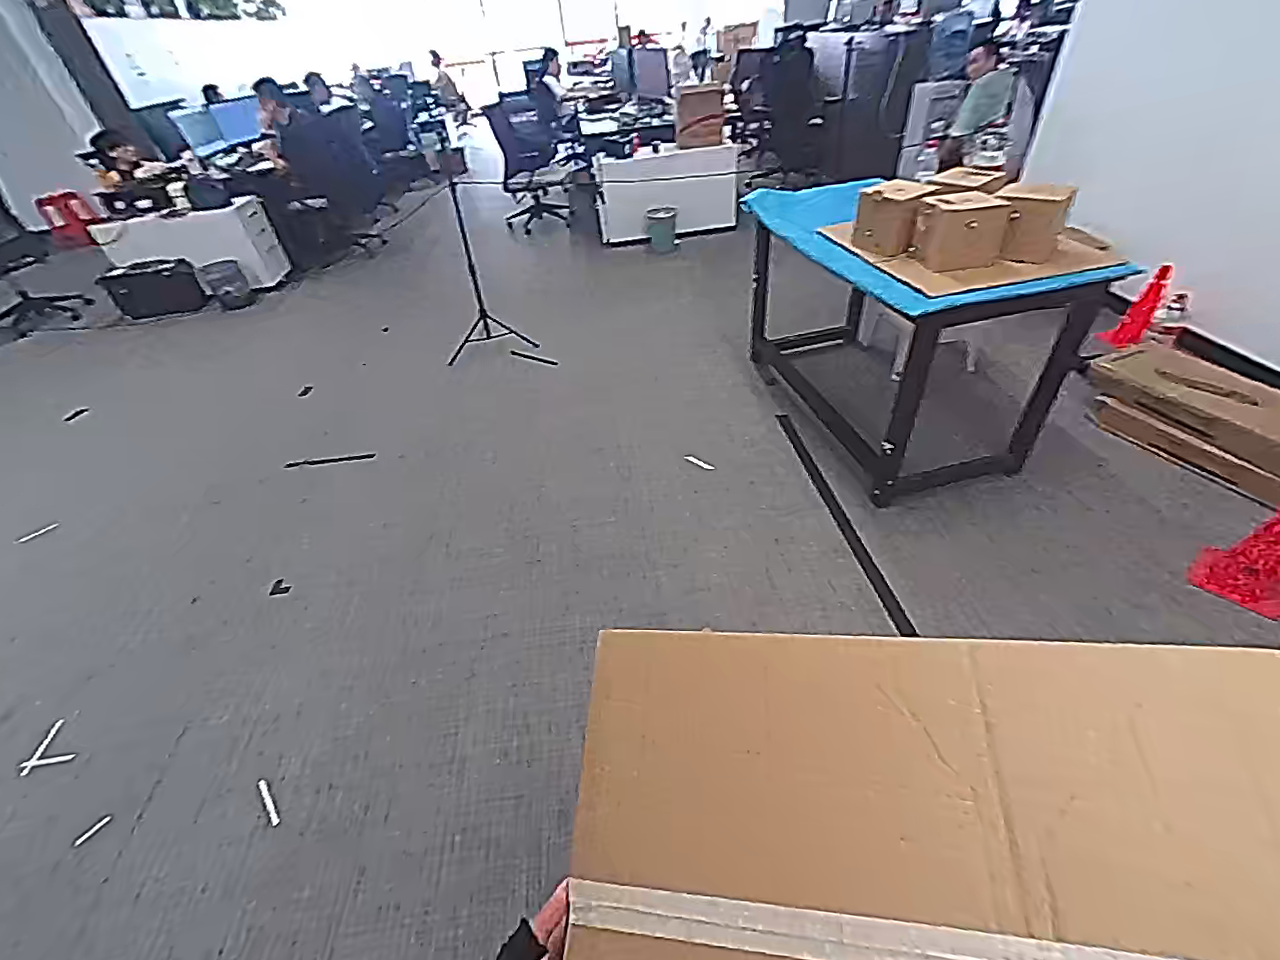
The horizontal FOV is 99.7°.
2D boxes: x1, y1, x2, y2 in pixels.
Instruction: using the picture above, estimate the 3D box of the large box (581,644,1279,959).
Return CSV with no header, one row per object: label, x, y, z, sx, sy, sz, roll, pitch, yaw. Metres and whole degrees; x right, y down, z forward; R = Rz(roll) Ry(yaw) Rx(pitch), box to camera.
large box,0.192,0.318,0.401,0.408,0.320,0.320,-3,61,14
